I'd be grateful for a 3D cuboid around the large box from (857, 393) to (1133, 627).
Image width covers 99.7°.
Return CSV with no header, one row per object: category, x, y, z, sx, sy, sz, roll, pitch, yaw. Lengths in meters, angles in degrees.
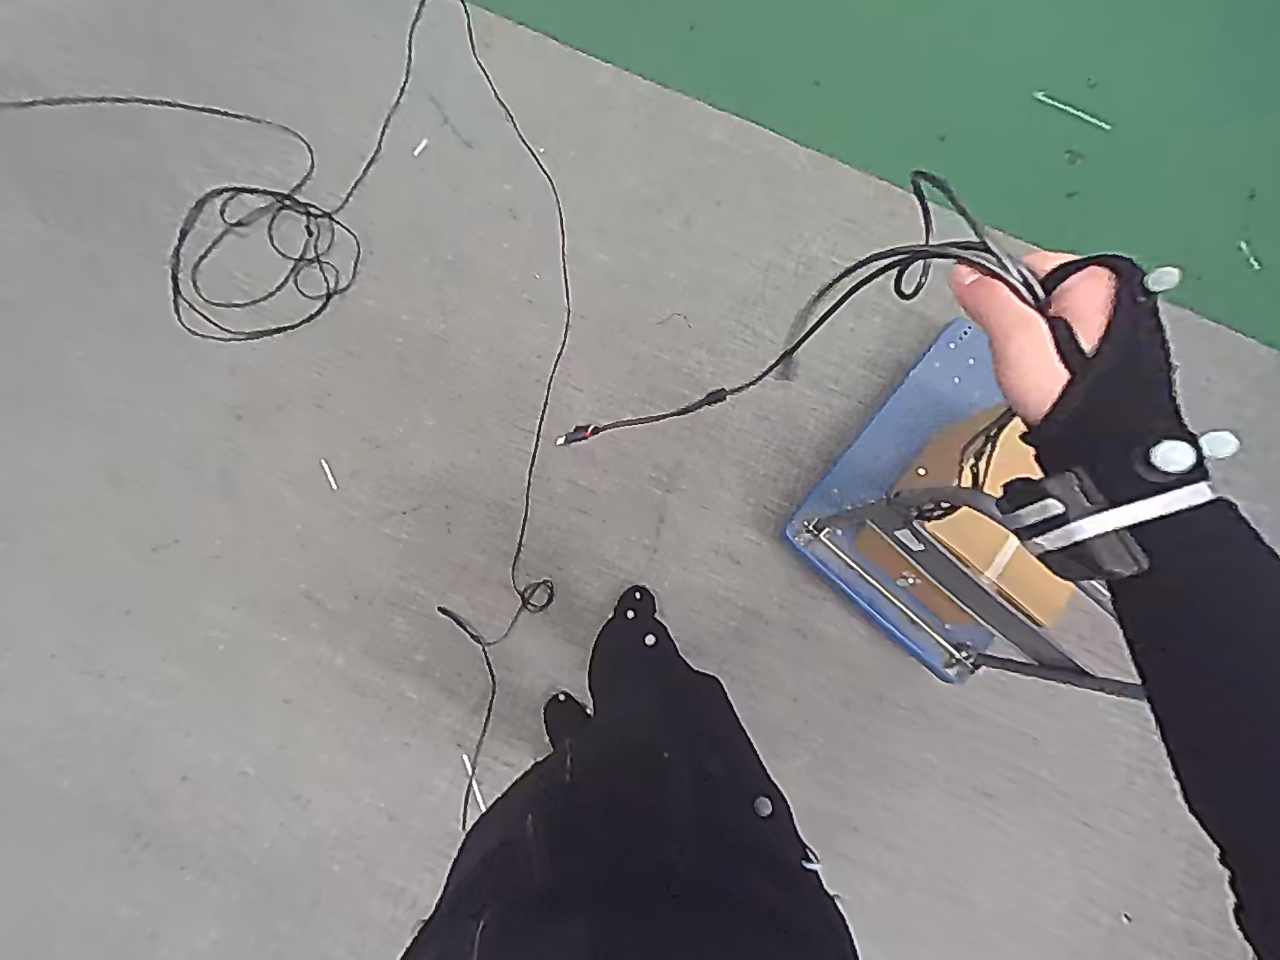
large box,0.792,0.087,1.253,0.320,0.320,0.408,41,76,4
